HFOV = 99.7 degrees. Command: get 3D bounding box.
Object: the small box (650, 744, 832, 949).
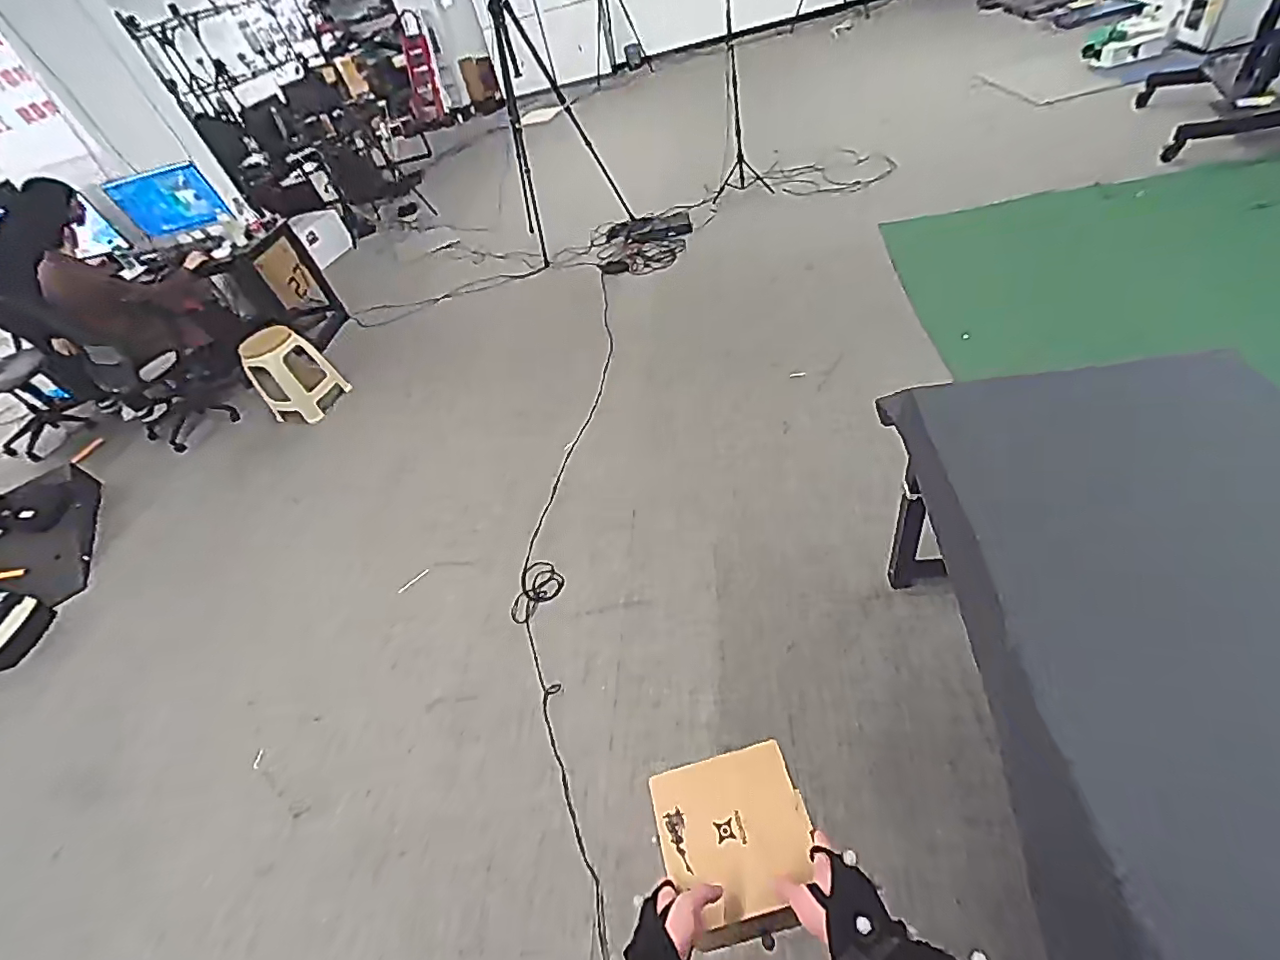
[{"bbox_3d":[0.125,0.469,0.691,0.179,0.176,0.168,-16,43,1],"label":"small box"}]
